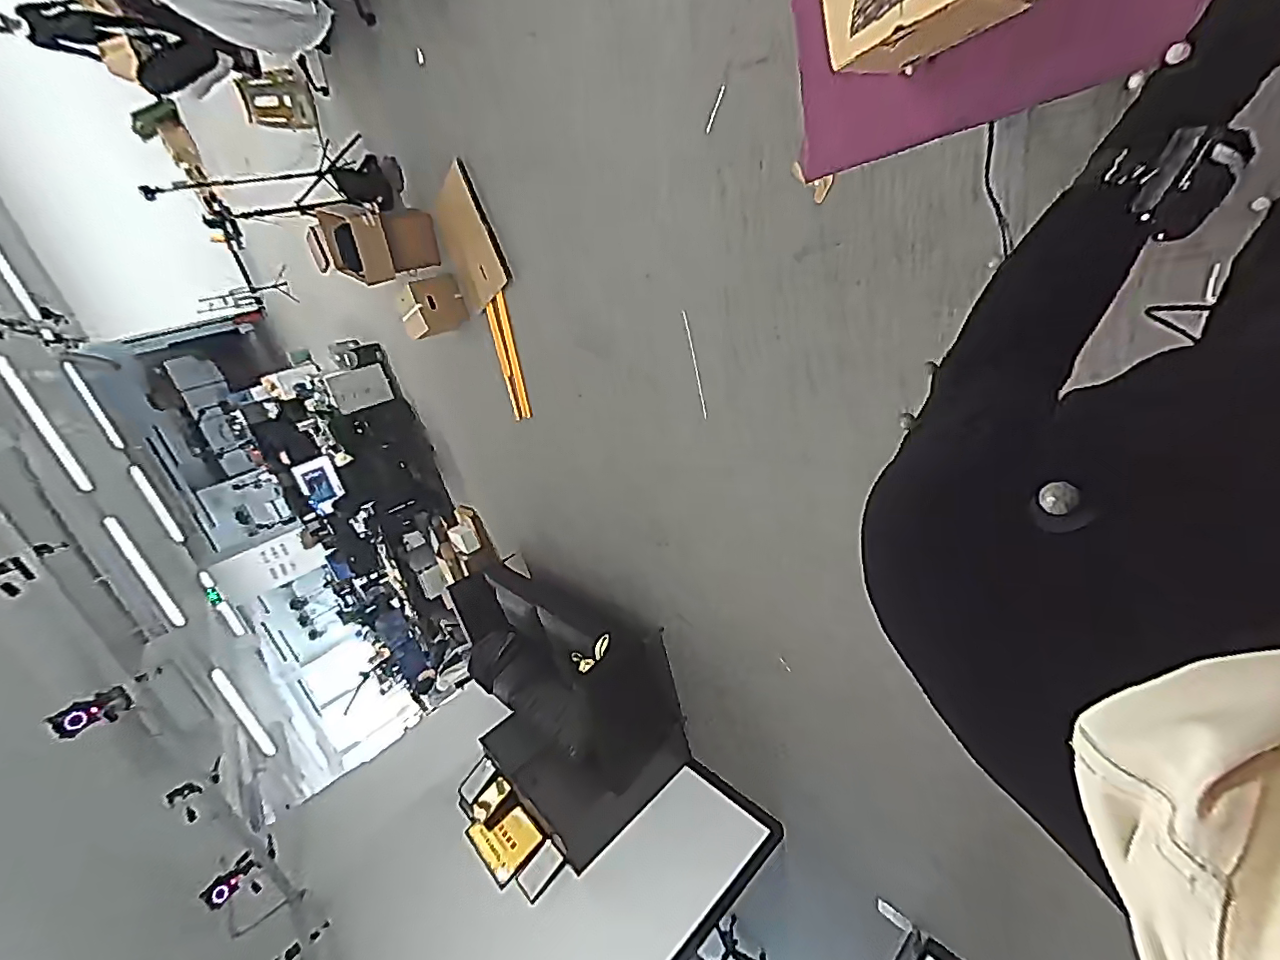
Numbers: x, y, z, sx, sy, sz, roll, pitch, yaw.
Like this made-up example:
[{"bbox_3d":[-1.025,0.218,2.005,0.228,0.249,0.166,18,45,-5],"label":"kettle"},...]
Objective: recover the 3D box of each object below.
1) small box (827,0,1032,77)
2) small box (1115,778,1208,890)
[{"bbox_3d":[0.335,-0.607,0.629,0.168,0.176,0.179,8,119,52],"label":"small box"},{"bbox_3d":[1.533,1.034,1.591,0.168,0.176,0.179,13,123,50],"label":"small box"}]
